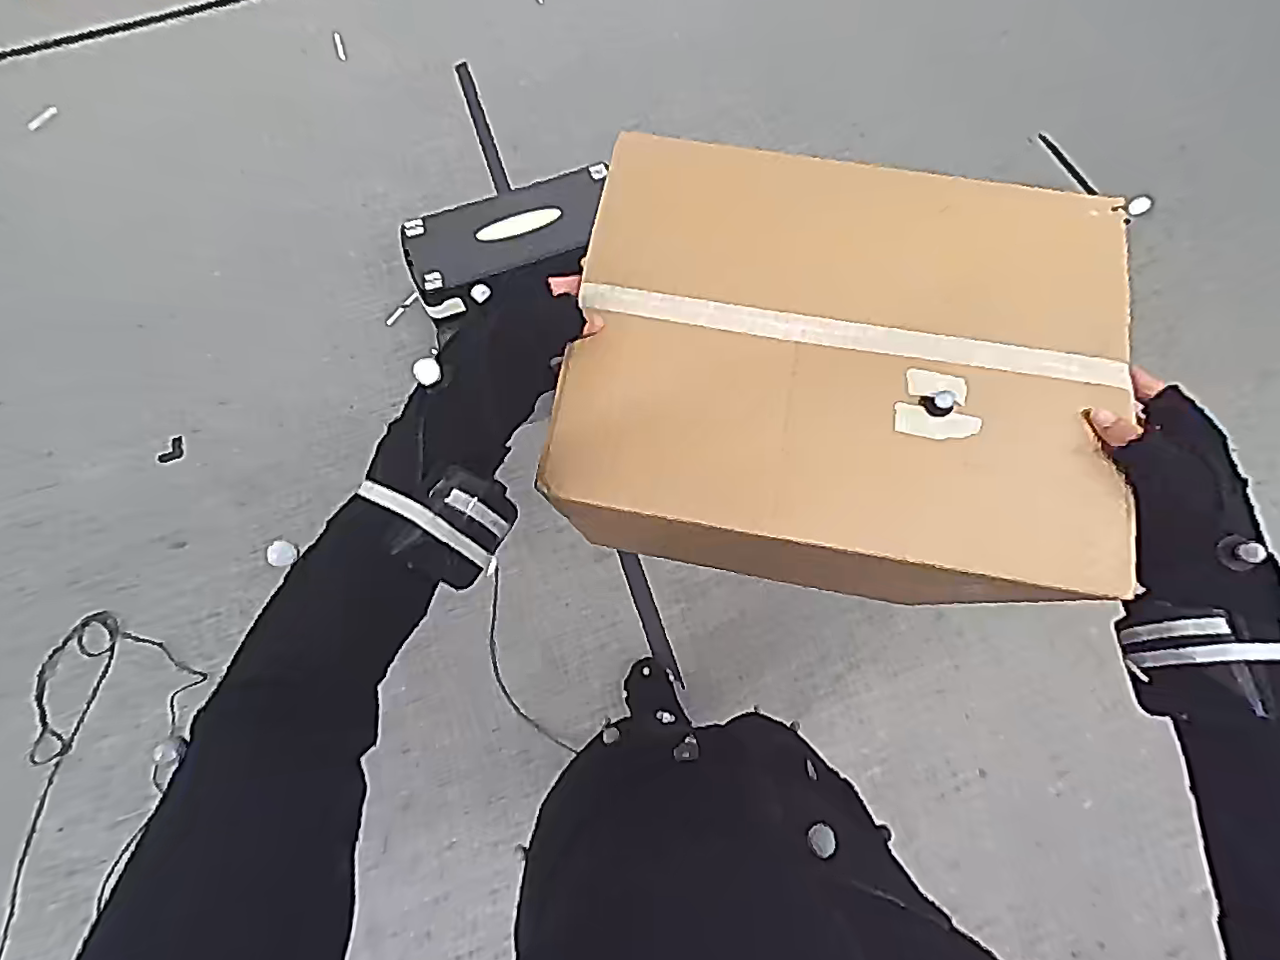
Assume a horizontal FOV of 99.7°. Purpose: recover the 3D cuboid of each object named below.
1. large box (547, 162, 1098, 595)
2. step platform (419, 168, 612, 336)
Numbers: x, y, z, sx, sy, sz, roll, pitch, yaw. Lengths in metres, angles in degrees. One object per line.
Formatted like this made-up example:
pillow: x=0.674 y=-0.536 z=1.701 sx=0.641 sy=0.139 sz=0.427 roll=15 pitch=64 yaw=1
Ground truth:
large box: x=0.148 y=-0.067 z=0.566 sx=0.408 sy=0.320 sz=0.320 roll=9 pitch=77 yaw=3
step platform: x=-0.307 y=-0.700 z=1.650 sx=0.684 sy=0.204 sz=0.286 roll=-21 pitch=71 yaw=-7
